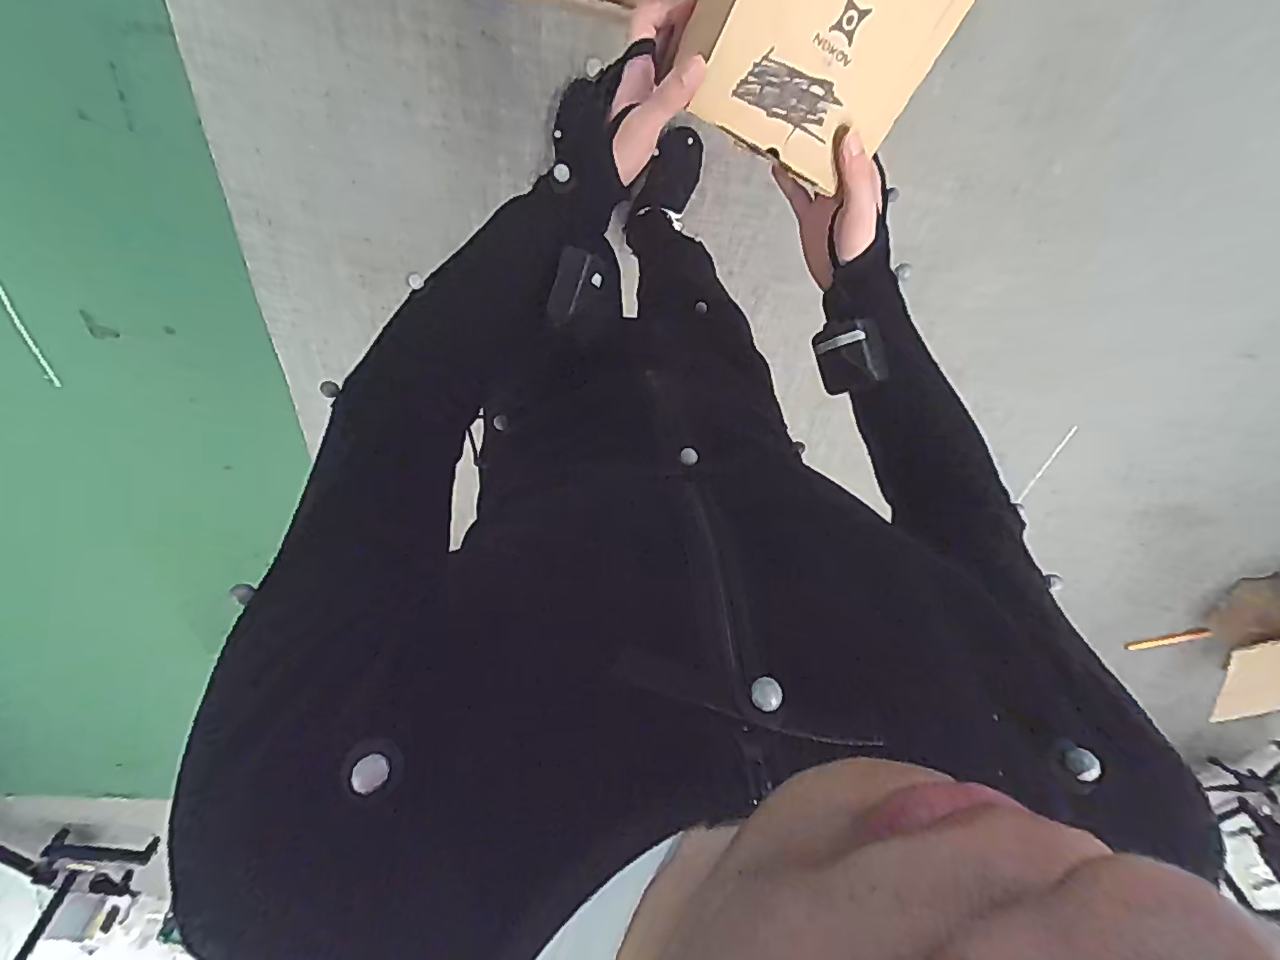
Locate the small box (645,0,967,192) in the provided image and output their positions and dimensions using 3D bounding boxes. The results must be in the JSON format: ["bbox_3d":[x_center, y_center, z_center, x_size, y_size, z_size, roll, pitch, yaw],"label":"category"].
[{"bbox_3d":[0.117,-0.373,0.428,0.168,0.176,0.179,12,129,-28],"label":"small box"}]
